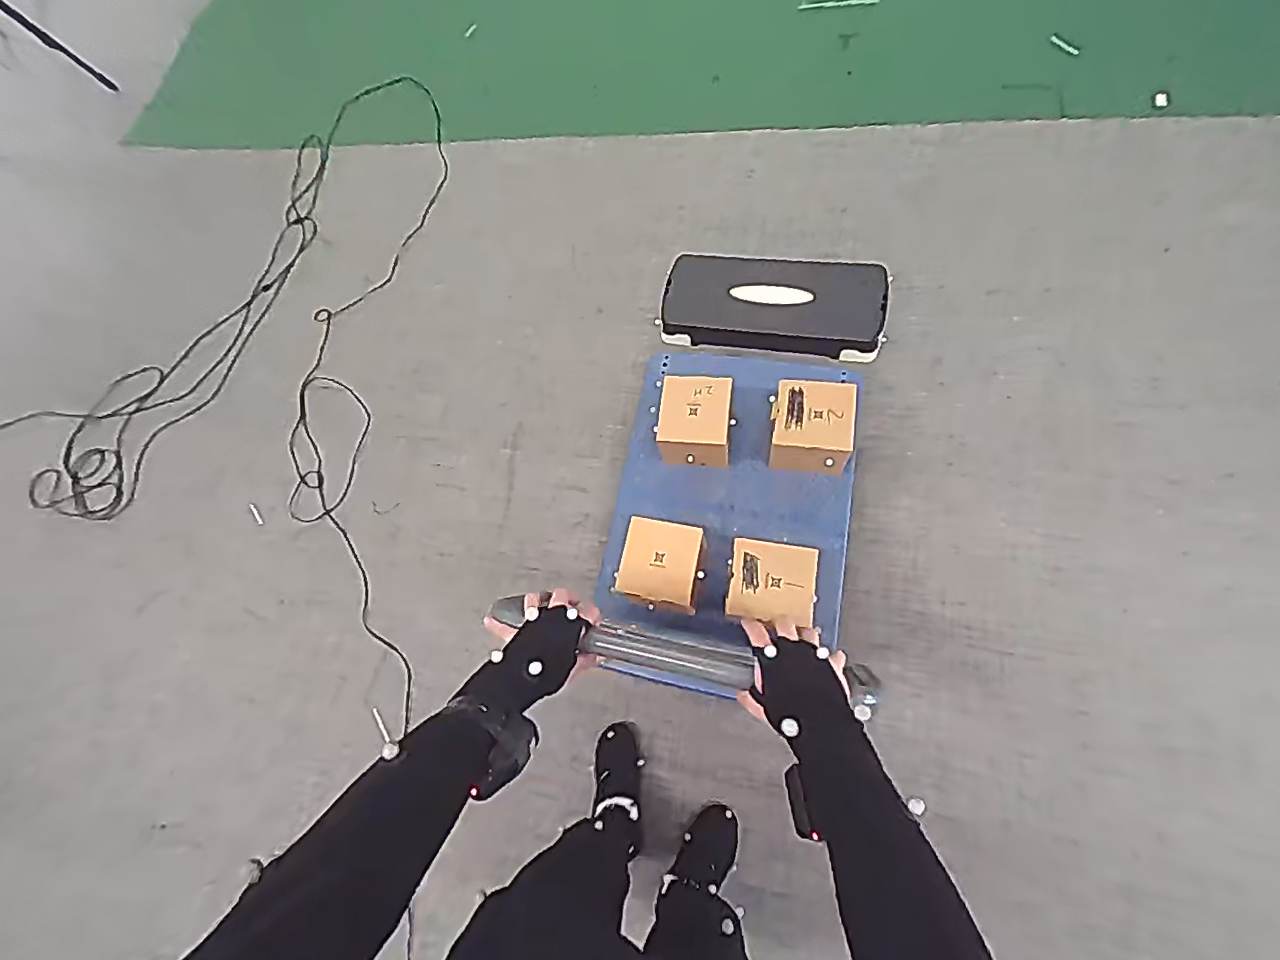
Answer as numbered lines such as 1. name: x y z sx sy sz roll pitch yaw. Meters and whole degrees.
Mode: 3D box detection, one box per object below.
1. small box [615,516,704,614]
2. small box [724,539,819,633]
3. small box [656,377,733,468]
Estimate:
1. small box: 0.053 0.202 1.252 0.168 0.176 0.179 10 74 13
2. small box: 0.286 0.239 1.194 0.179 0.176 0.168 8 73 12
3. small box: 0.143 -0.138 1.353 0.168 0.176 0.179 5 72 12
